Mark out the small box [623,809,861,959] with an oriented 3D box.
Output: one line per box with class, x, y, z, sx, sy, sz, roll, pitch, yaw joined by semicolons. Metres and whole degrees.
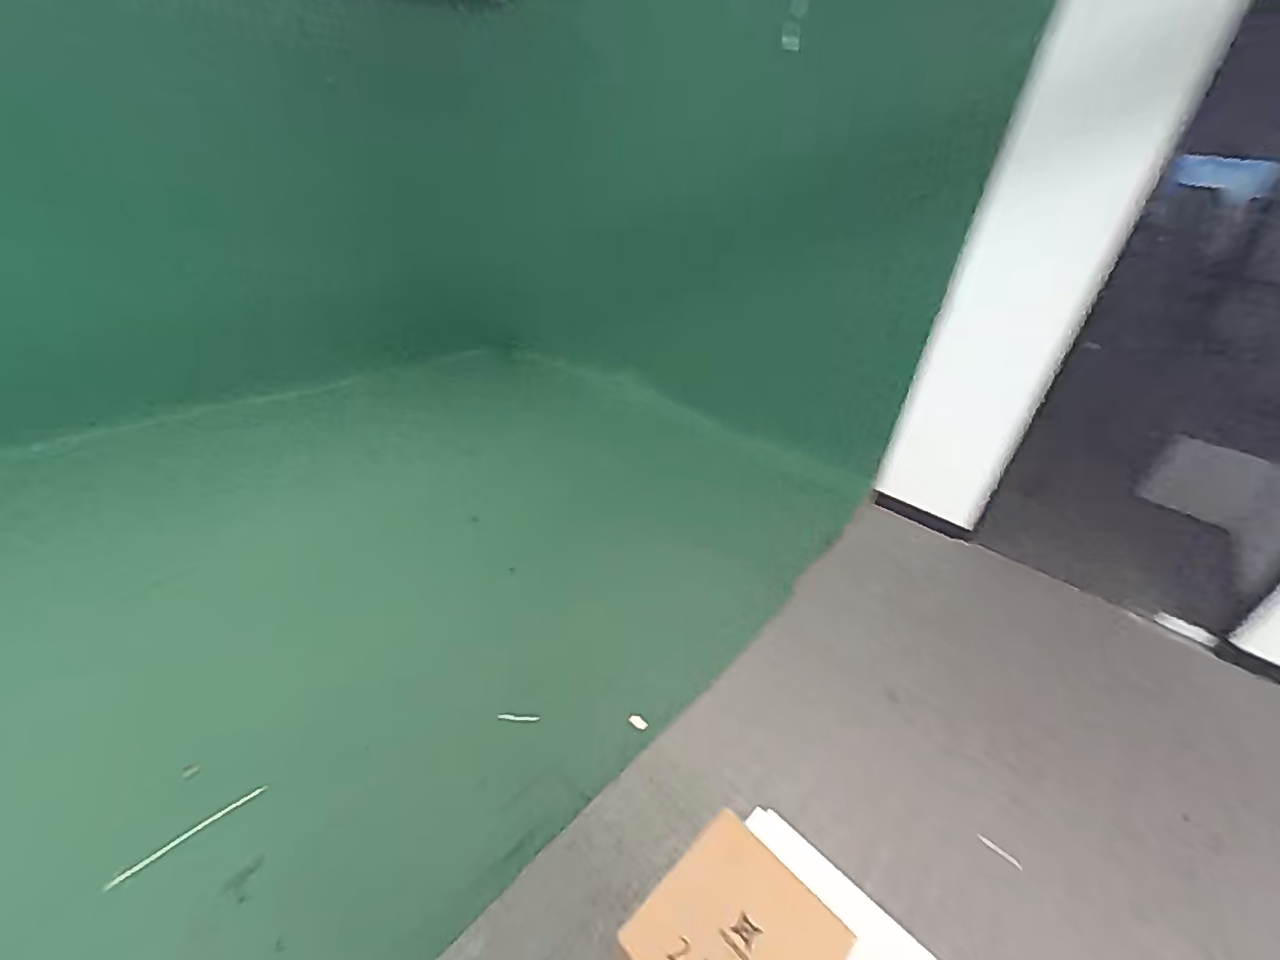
small box;0.091;0.501;0.559;0.179;0.176;0.168;-25;44;-38
